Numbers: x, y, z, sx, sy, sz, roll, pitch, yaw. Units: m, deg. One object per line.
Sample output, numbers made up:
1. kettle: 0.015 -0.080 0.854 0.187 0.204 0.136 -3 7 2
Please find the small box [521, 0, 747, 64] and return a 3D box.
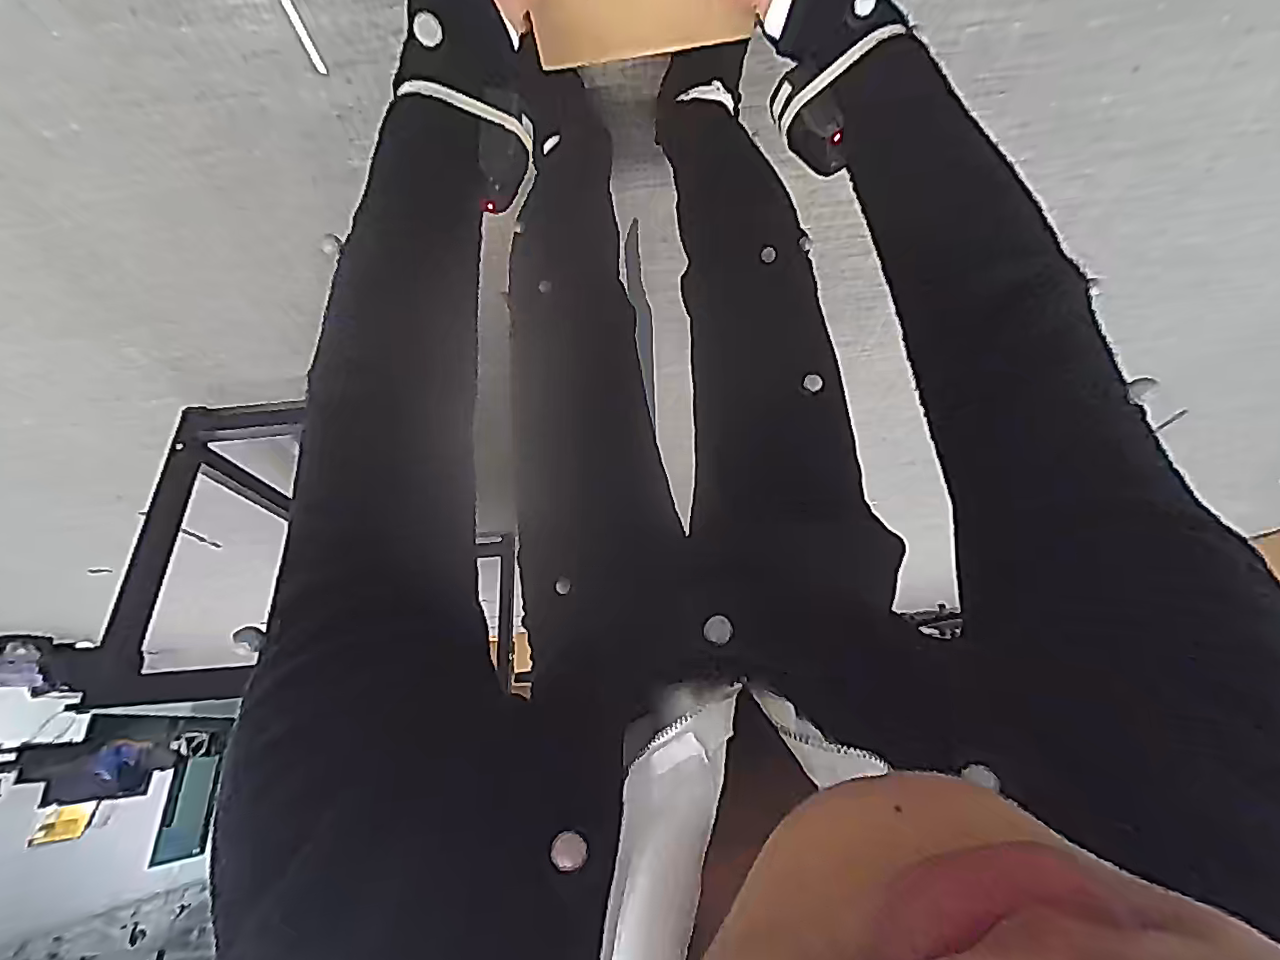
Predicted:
1. small box: -0.016 -0.461 0.403 0.179 0.176 0.168 -7 155 4
